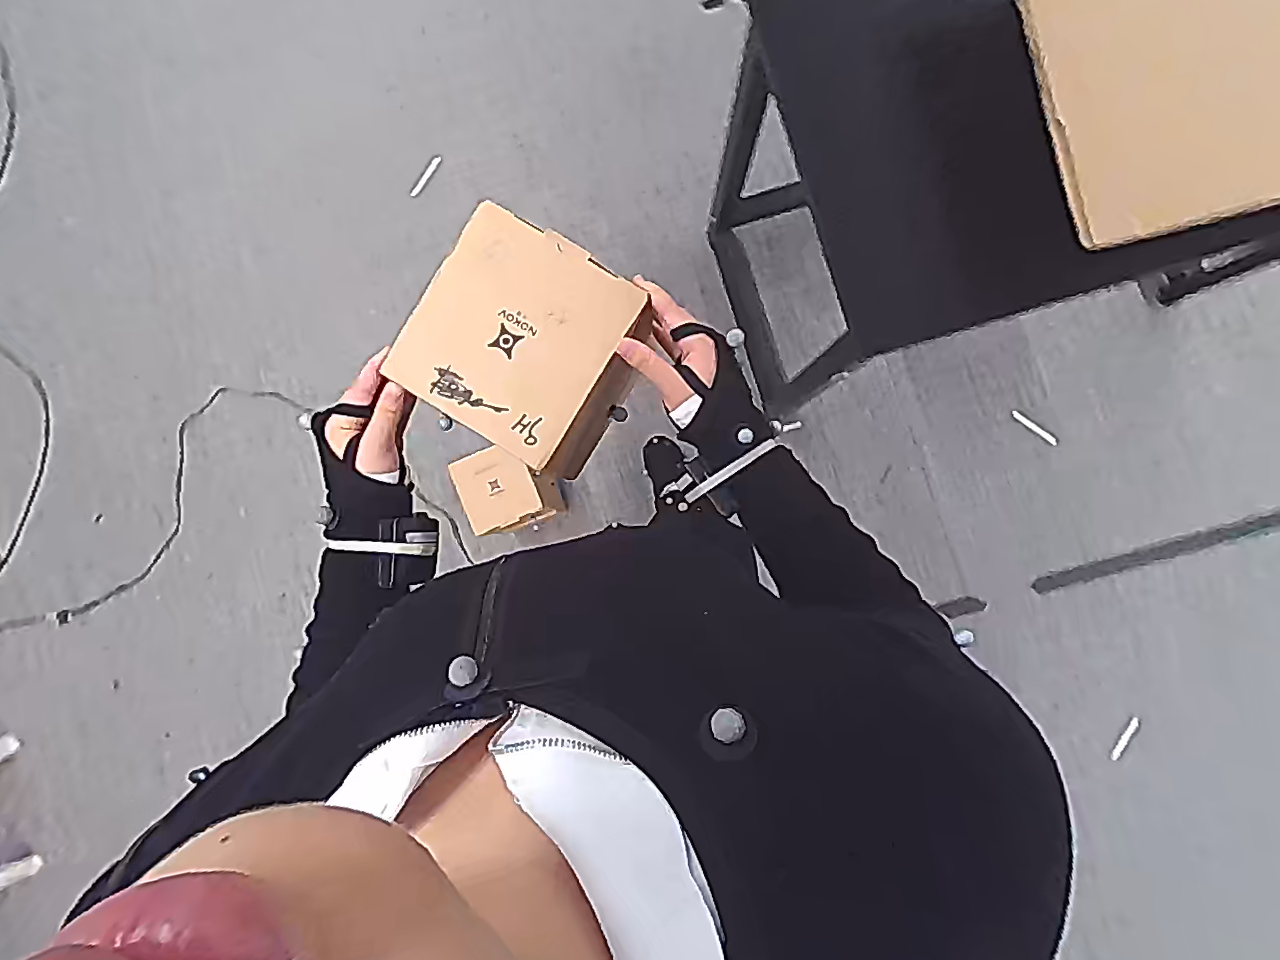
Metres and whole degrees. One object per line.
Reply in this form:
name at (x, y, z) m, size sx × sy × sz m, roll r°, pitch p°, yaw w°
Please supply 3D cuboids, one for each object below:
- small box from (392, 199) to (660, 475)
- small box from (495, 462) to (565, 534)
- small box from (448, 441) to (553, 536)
small box at (-0.095, -0.121, 0.533) m, size 0.168 × 0.176 × 0.179 m, roll 32°, pitch 89°, yaw 4°
small box at (-0.313, 0.033, 1.441) m, size 0.168 × 0.176 × 0.179 m, roll -21°, pitch 87°, yaw 0°
small box at (-0.320, 0.019, 1.279) m, size 0.168 × 0.176 × 0.179 m, roll -23°, pitch 86°, yaw 0°
